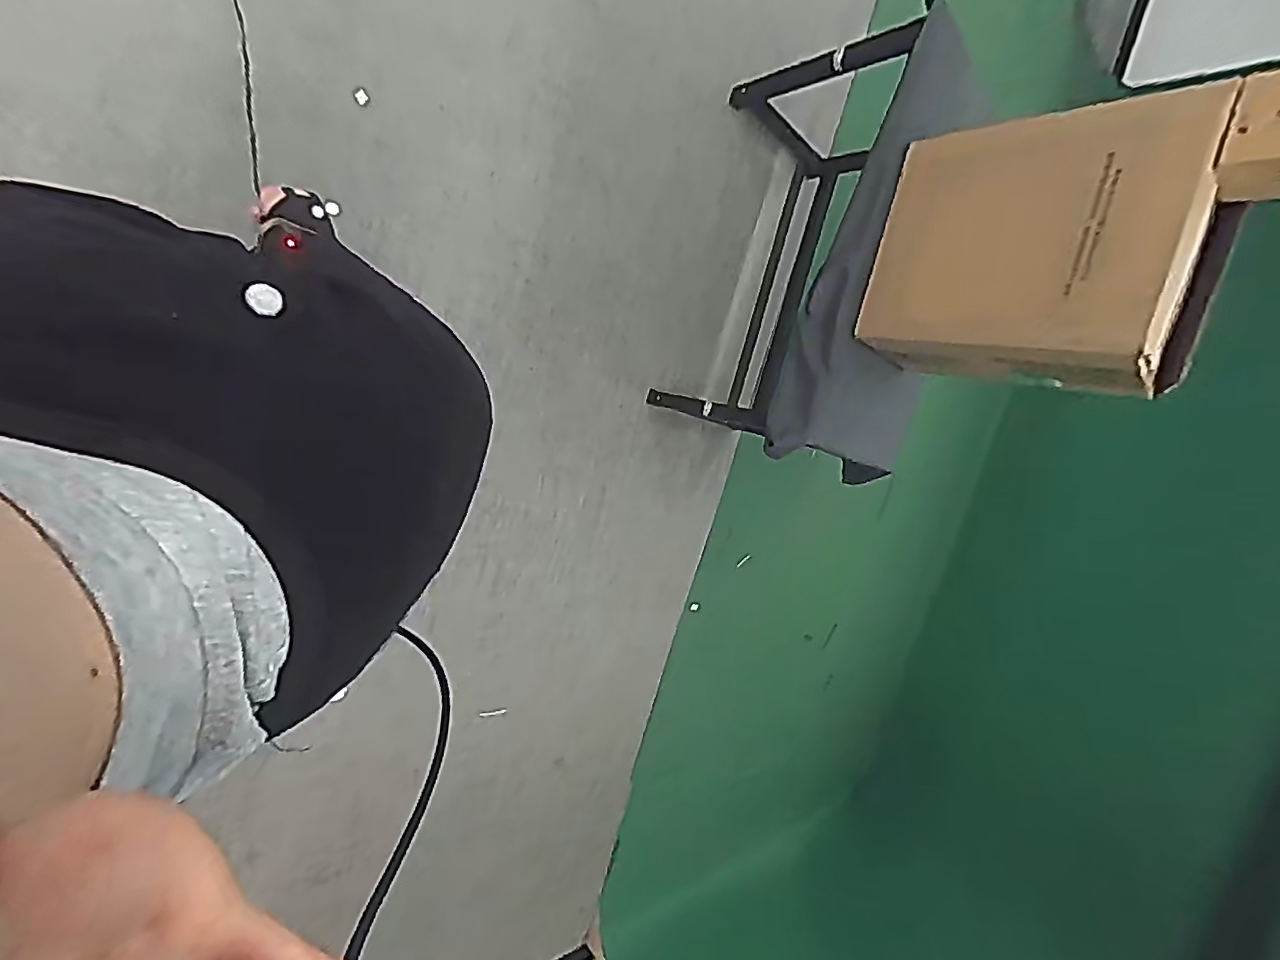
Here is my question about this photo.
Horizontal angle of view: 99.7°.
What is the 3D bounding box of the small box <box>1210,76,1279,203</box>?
[{"bbox_3d":[1.228,-0.650,1.029,0.179,0.176,0.168,6,100,-42],"label":"small box"}]
